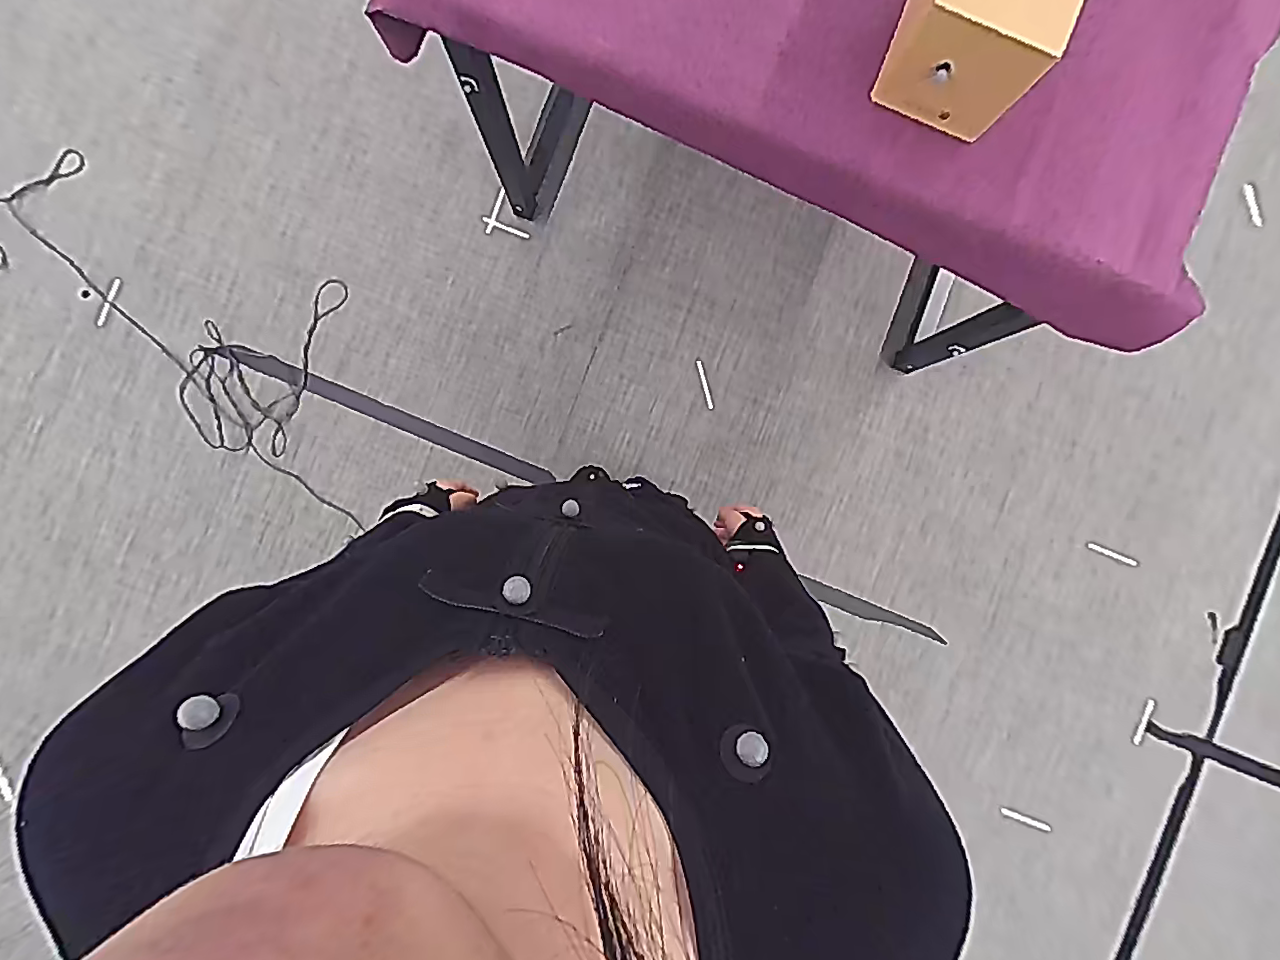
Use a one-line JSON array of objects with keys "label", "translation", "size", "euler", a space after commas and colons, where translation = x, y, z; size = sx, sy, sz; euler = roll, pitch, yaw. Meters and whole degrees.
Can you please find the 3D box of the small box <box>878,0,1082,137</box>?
[{"label": "small box", "translation": [0.444, -0.601, 0.710], "size": [0.168, 0.176, 0.179], "euler": [22, 89, -2]}]
